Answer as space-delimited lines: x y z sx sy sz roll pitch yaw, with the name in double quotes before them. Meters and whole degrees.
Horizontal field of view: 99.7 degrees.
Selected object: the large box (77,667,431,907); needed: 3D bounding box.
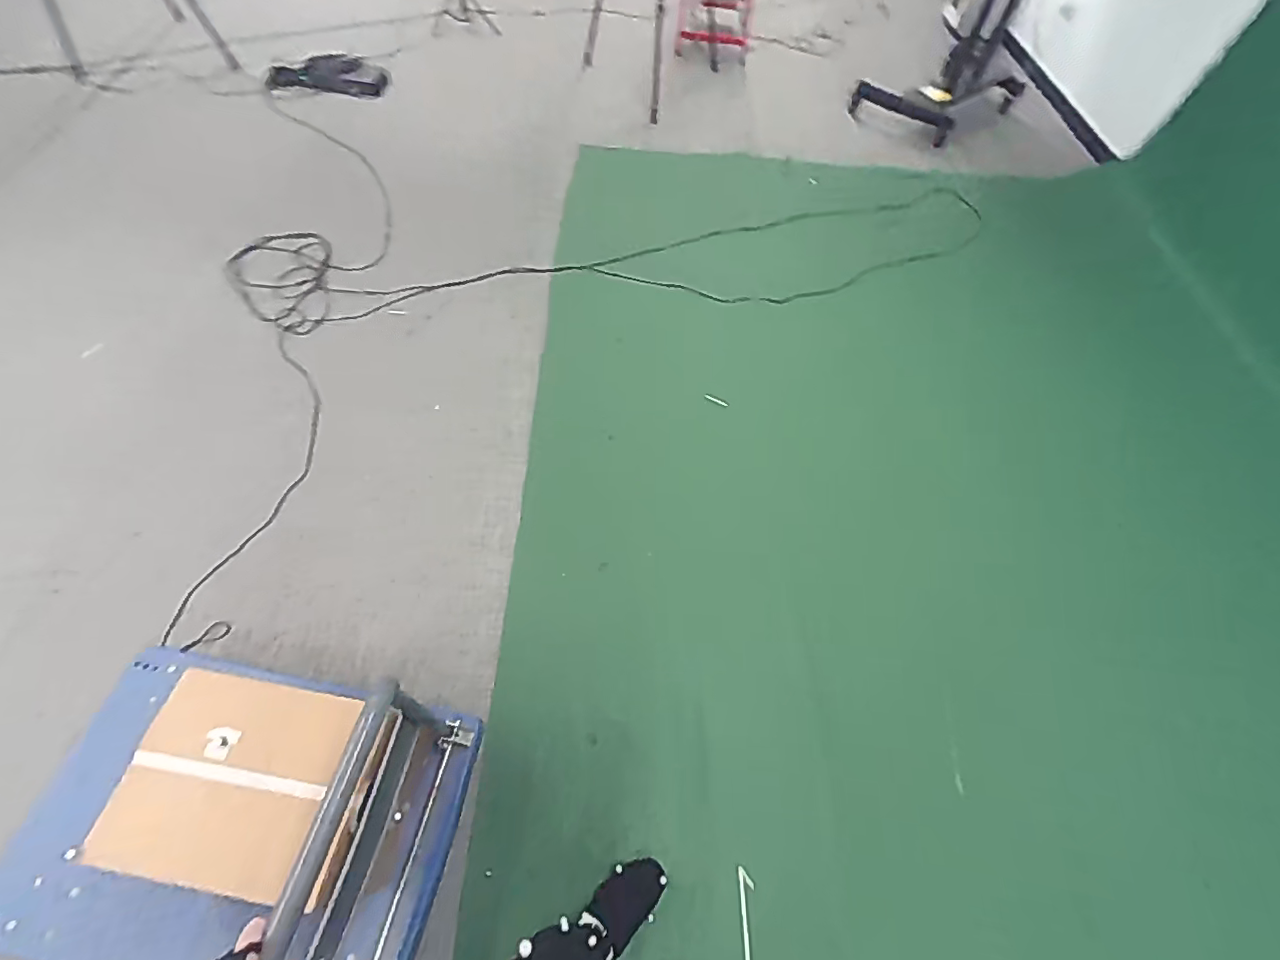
"large box" -0.693 0.589 1.063 0.408 0.320 0.320 10 58 3
